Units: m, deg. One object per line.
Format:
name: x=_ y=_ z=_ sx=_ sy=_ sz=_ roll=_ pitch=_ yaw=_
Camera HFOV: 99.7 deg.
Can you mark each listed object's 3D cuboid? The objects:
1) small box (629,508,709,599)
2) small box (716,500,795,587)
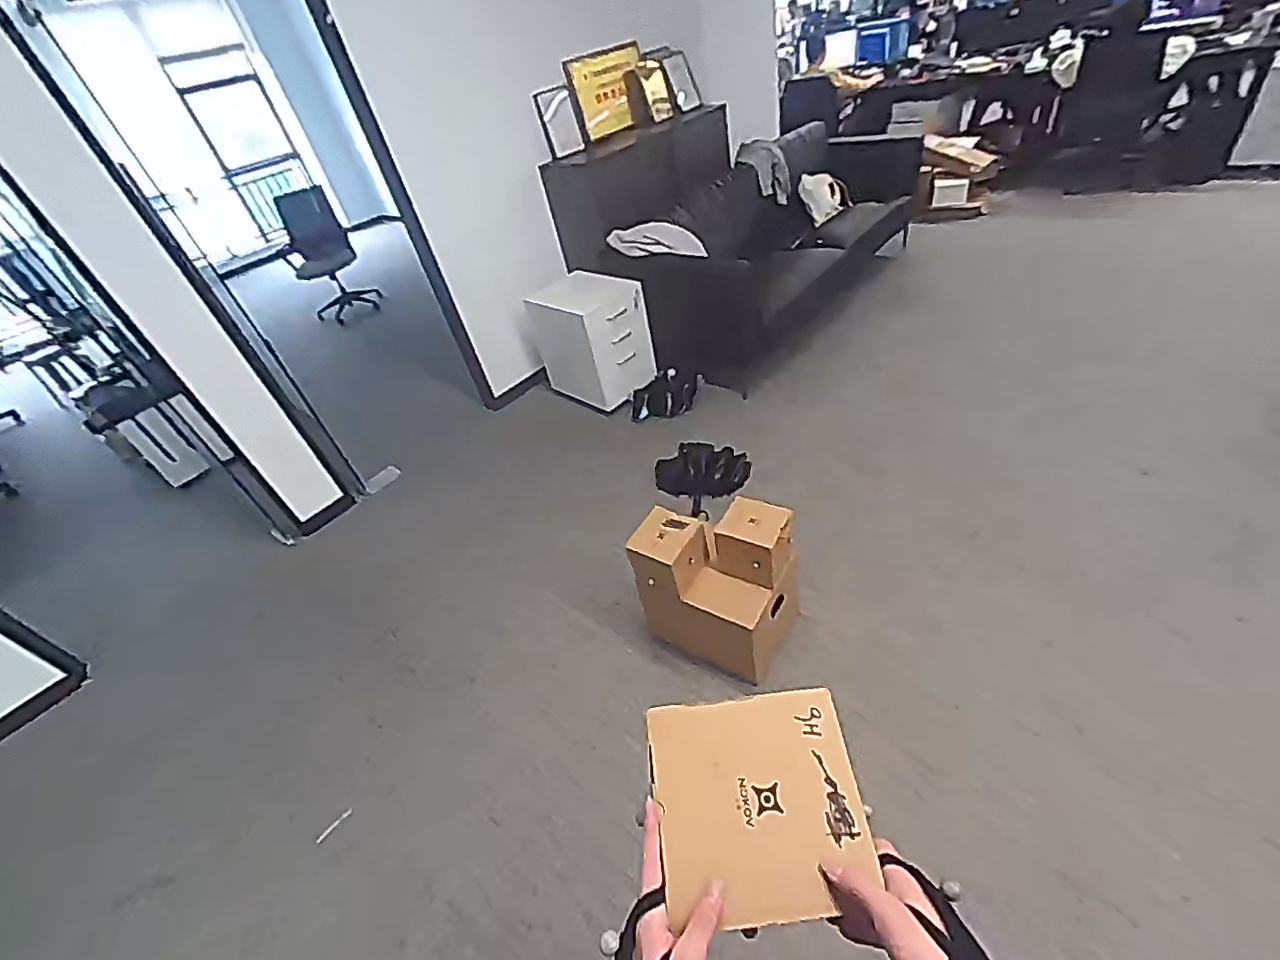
small box: x=0.094 y=0.219 z=1.611 sx=0.168 sy=0.176 sz=0.179 roll=18 pitch=52 yaw=34
small box: x=0.341 y=0.187 z=1.574 sx=0.179 sy=0.176 sz=0.168 roll=13 pitch=43 yaw=32
